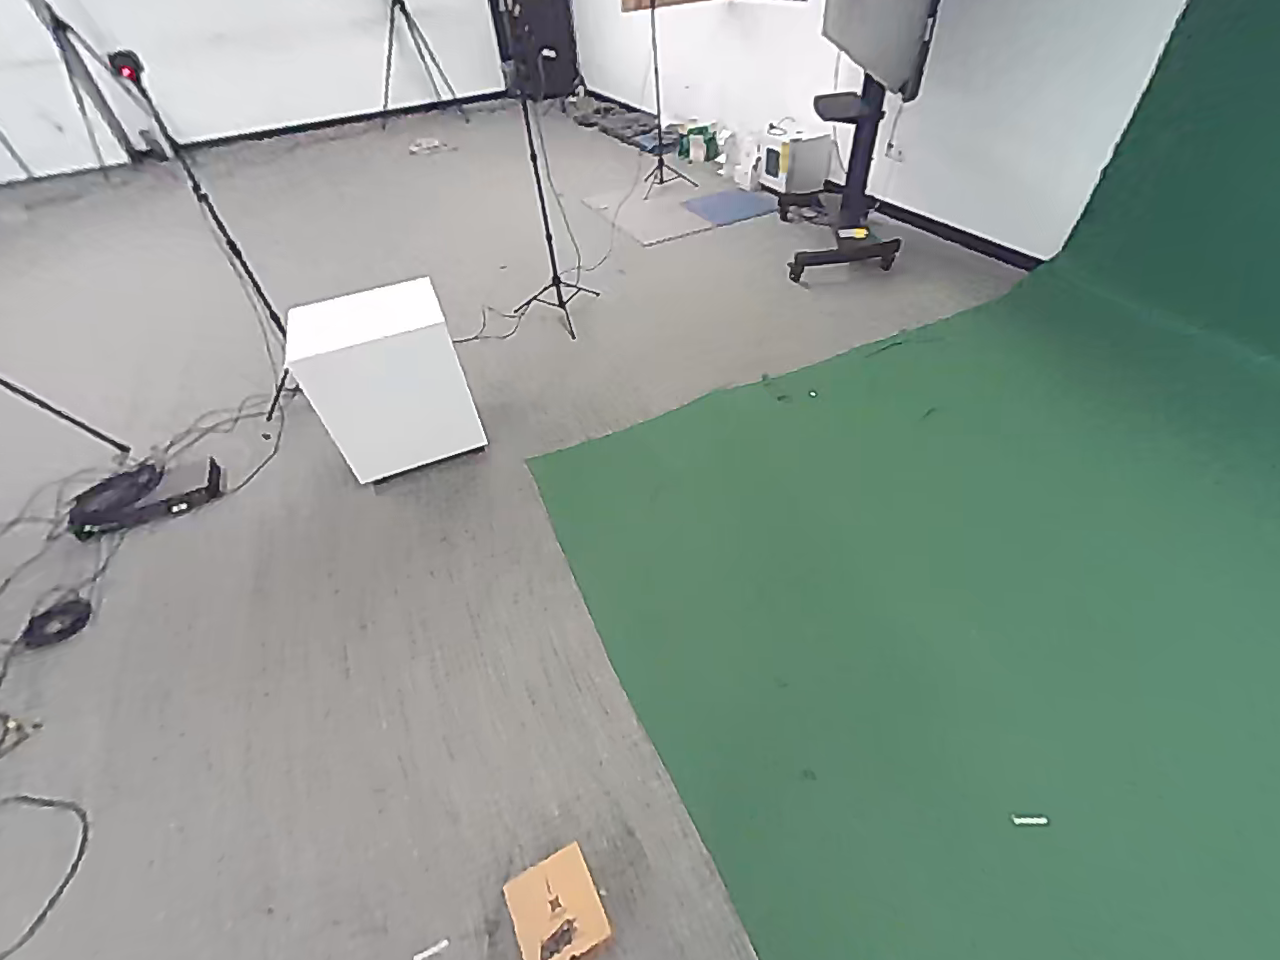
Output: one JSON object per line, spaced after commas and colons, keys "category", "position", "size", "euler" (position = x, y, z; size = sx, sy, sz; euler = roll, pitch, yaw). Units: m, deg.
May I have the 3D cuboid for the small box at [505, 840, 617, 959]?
{"category": "small box", "position": [-0.157, 0.891, 1.113], "size": [0.168, 0.176, 0.179], "euler": [-23, 48, -17]}
